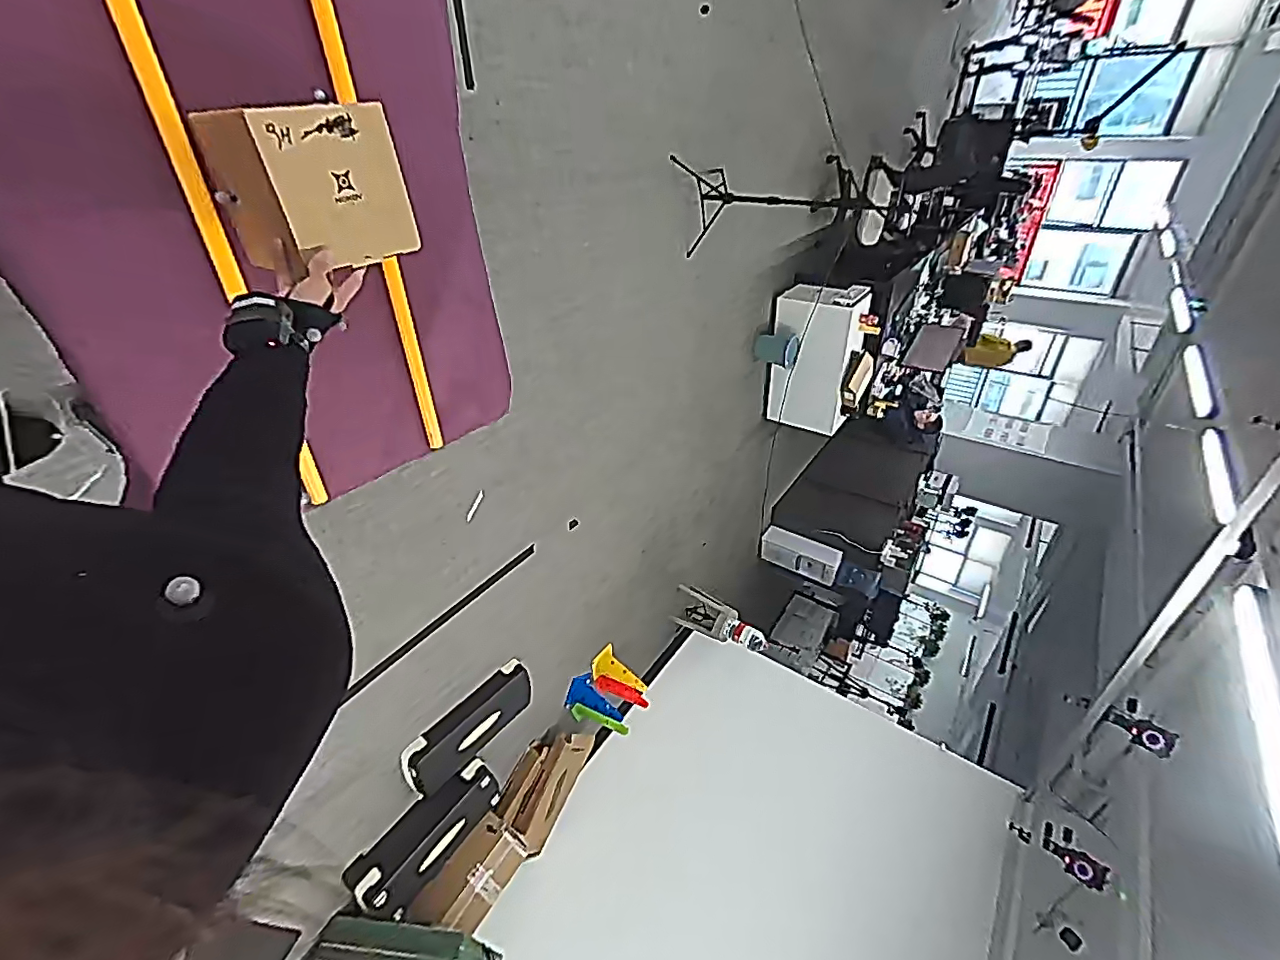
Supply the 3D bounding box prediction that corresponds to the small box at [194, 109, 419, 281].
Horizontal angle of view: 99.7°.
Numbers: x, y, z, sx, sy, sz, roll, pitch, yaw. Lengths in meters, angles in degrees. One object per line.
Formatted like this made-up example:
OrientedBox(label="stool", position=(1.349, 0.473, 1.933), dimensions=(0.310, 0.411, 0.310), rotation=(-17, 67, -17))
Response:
OrientedBox(label="small box", position=(-0.430, -0.381, 0.712), dimensions=(0.168, 0.176, 0.179), rotation=(-40, 139, -40))
